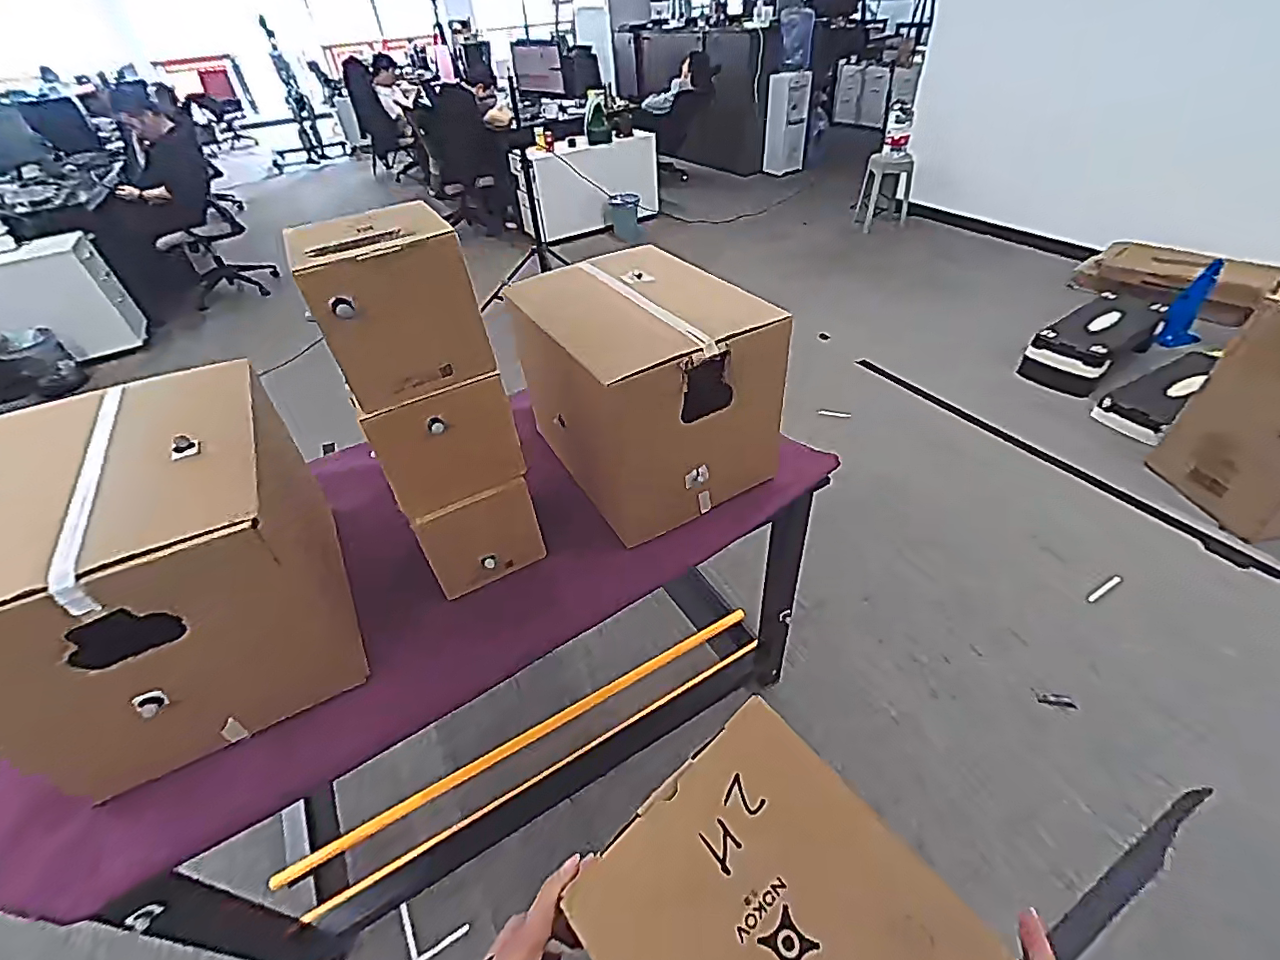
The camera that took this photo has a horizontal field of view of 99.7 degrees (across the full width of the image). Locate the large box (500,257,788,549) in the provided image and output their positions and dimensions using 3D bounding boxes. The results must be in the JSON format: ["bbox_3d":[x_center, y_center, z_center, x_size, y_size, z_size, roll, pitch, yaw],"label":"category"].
[{"bbox_3d":[0.001,-0.155,0.956,0.320,0.320,0.408,-24,43,-20],"label":"large box"}]
